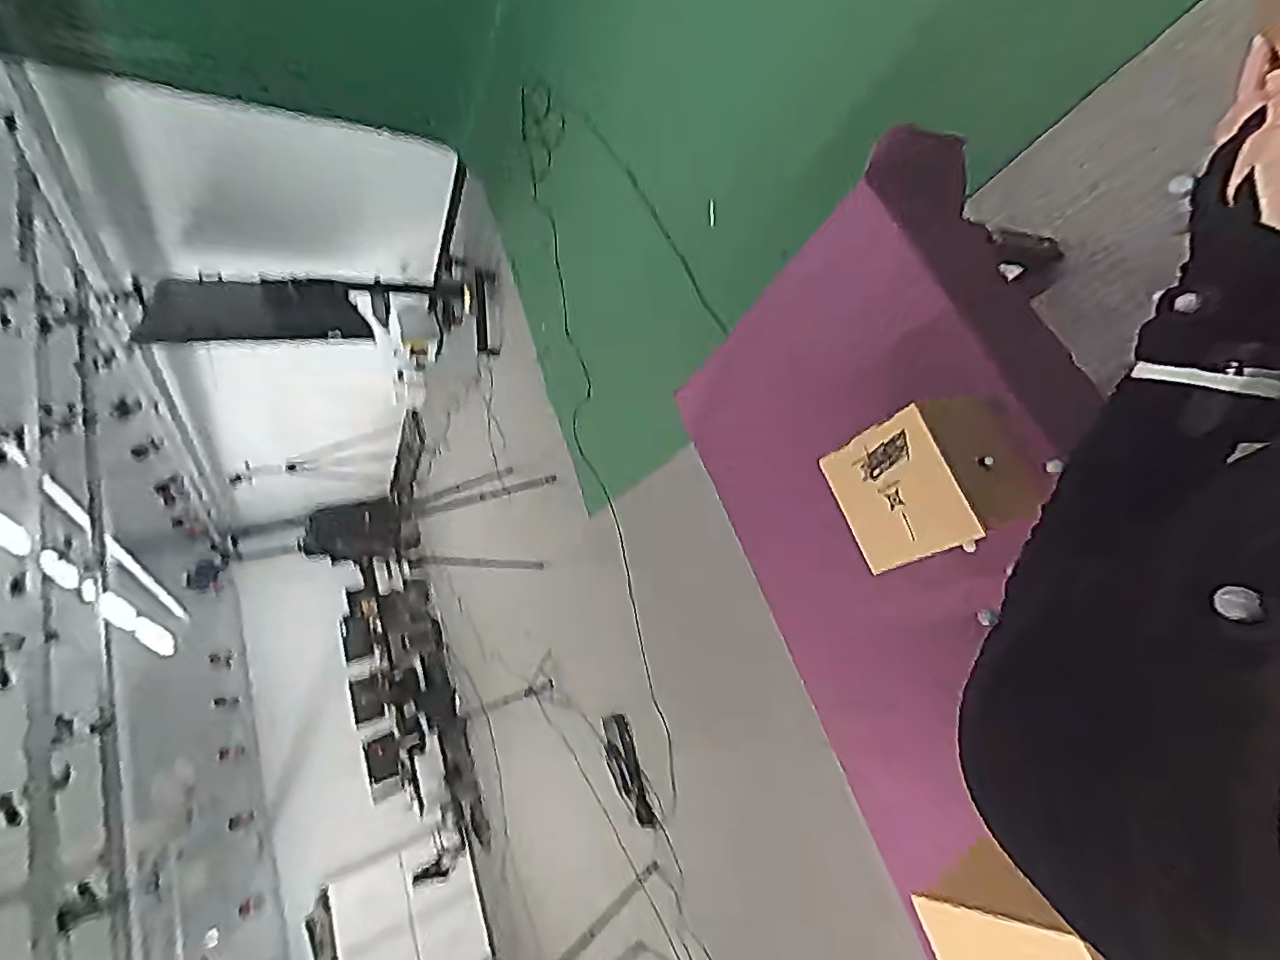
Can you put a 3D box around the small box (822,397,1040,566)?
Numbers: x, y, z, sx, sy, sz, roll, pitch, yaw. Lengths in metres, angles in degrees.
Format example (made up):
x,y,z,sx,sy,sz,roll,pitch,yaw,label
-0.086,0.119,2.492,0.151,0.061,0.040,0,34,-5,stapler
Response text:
x,y,z,sx,sy,sz,roll,pitch,yaw,label
0.394,-0.002,0.742,0.168,0.176,0.179,-43,64,53,small box
